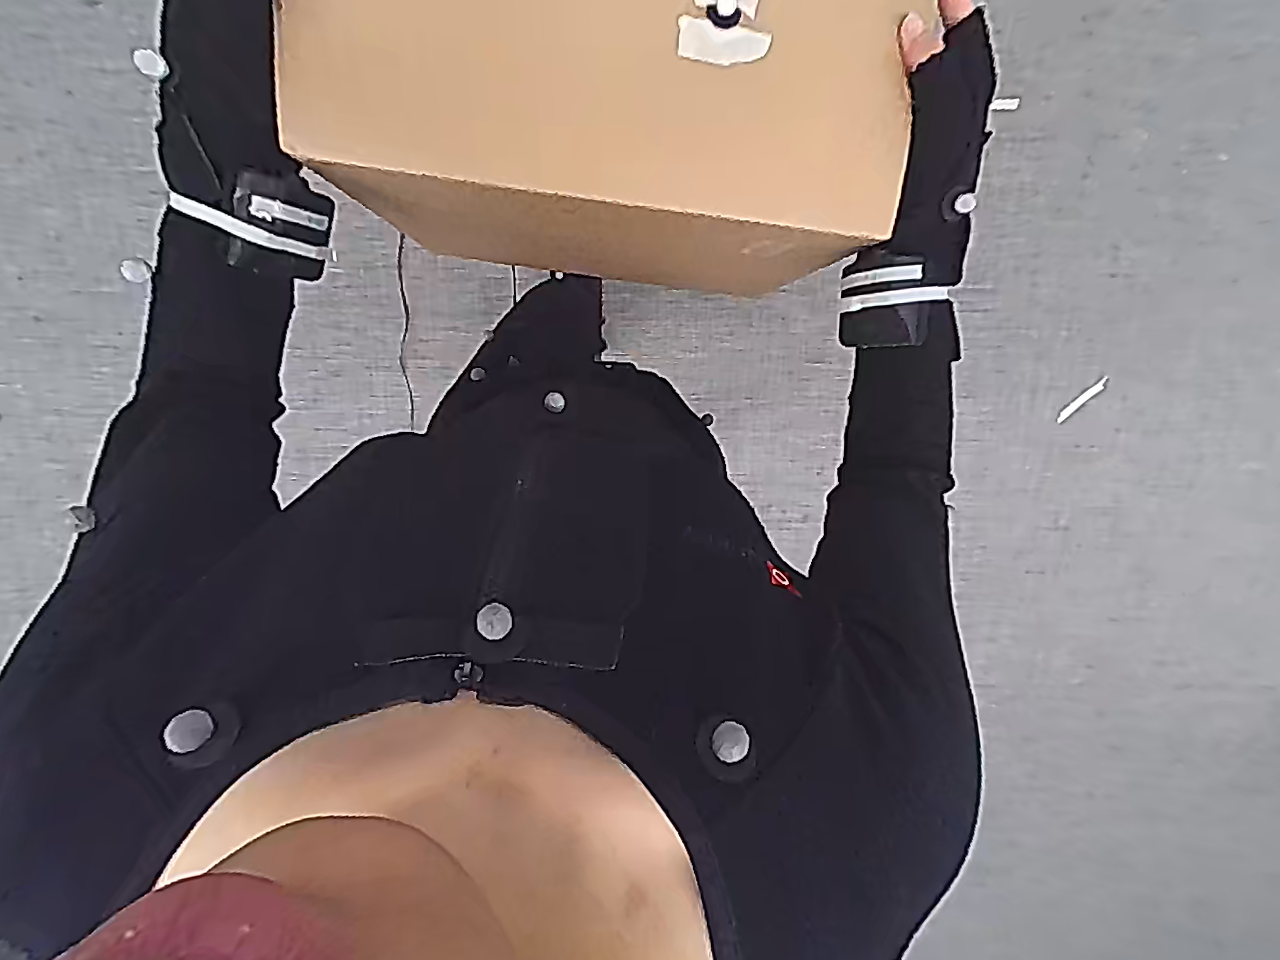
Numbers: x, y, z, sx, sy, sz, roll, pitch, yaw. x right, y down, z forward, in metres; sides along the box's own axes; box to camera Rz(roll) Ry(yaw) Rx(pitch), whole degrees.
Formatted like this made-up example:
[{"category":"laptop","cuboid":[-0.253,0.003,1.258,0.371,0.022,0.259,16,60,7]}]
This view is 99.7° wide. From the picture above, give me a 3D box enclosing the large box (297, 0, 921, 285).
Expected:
[{"category":"large box","cuboid":[-0.020,-0.379,0.484,0.408,0.320,0.320,5,101,-6]}]
